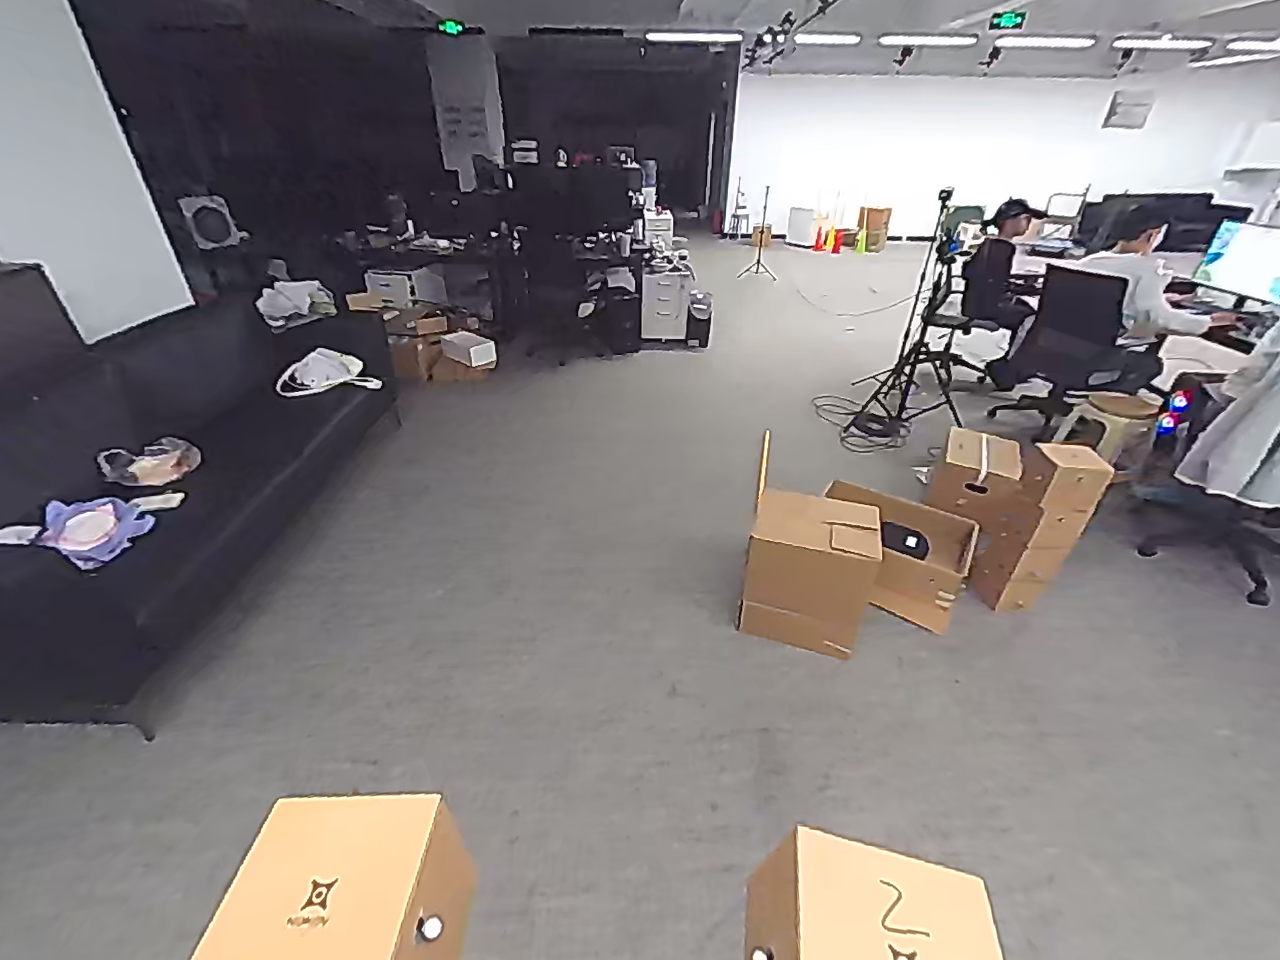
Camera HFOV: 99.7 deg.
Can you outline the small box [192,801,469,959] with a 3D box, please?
[{"bbox_3d":[-0.268,0.428,0.496,0.168,0.176,0.179,-2,33,2],"label":"small box"}]
